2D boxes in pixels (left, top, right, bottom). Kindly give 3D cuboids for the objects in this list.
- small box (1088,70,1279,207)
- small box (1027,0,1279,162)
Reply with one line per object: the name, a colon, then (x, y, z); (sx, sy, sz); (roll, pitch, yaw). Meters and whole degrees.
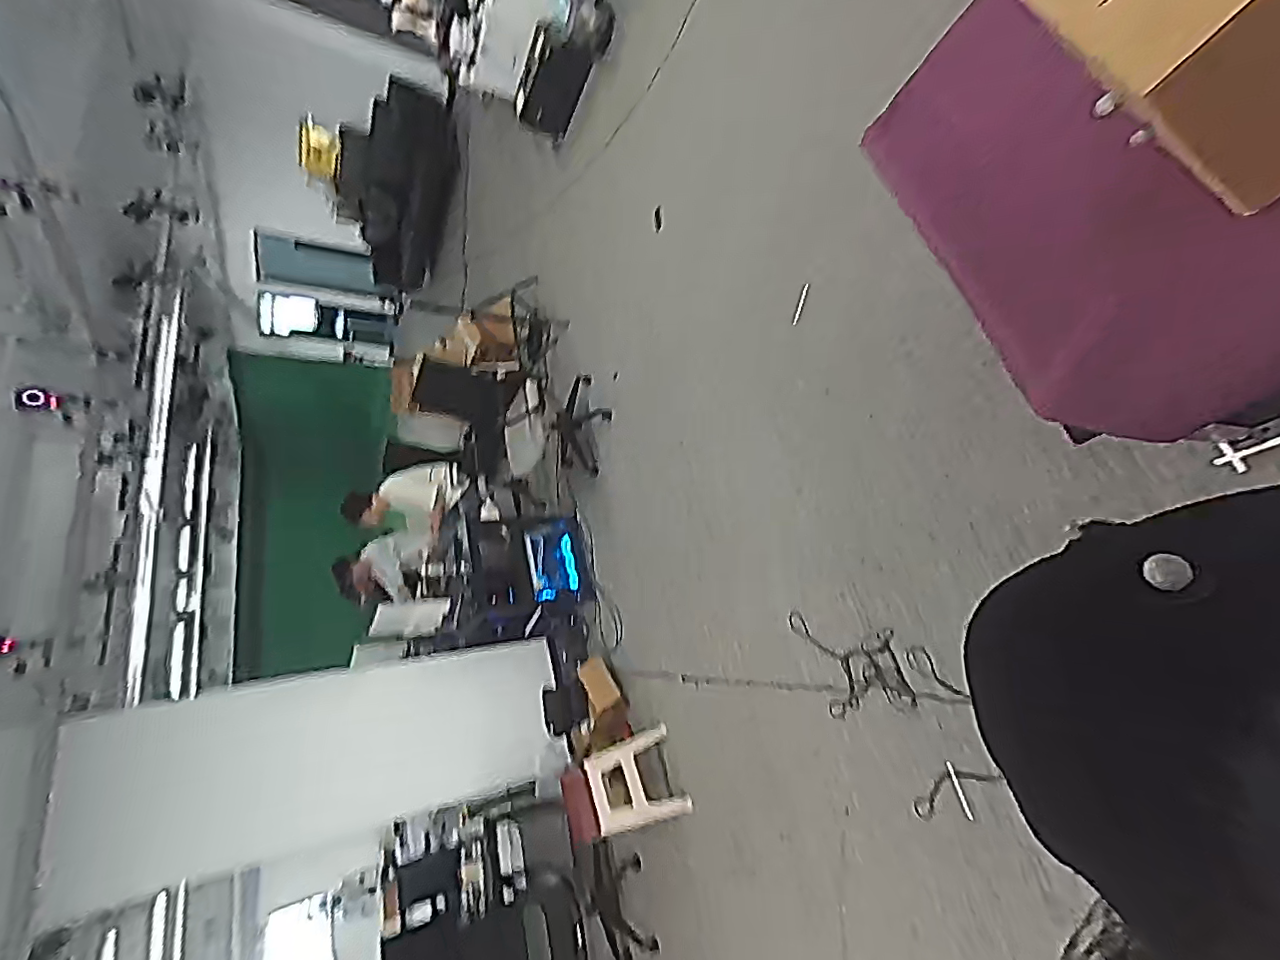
small box: (0.576, -0.385, 0.488); (0.179, 0.176, 0.168); (-46, 52, 47)
small box: (0.439, -0.382, 0.396); (0.179, 0.176, 0.168); (-47, 51, 47)
